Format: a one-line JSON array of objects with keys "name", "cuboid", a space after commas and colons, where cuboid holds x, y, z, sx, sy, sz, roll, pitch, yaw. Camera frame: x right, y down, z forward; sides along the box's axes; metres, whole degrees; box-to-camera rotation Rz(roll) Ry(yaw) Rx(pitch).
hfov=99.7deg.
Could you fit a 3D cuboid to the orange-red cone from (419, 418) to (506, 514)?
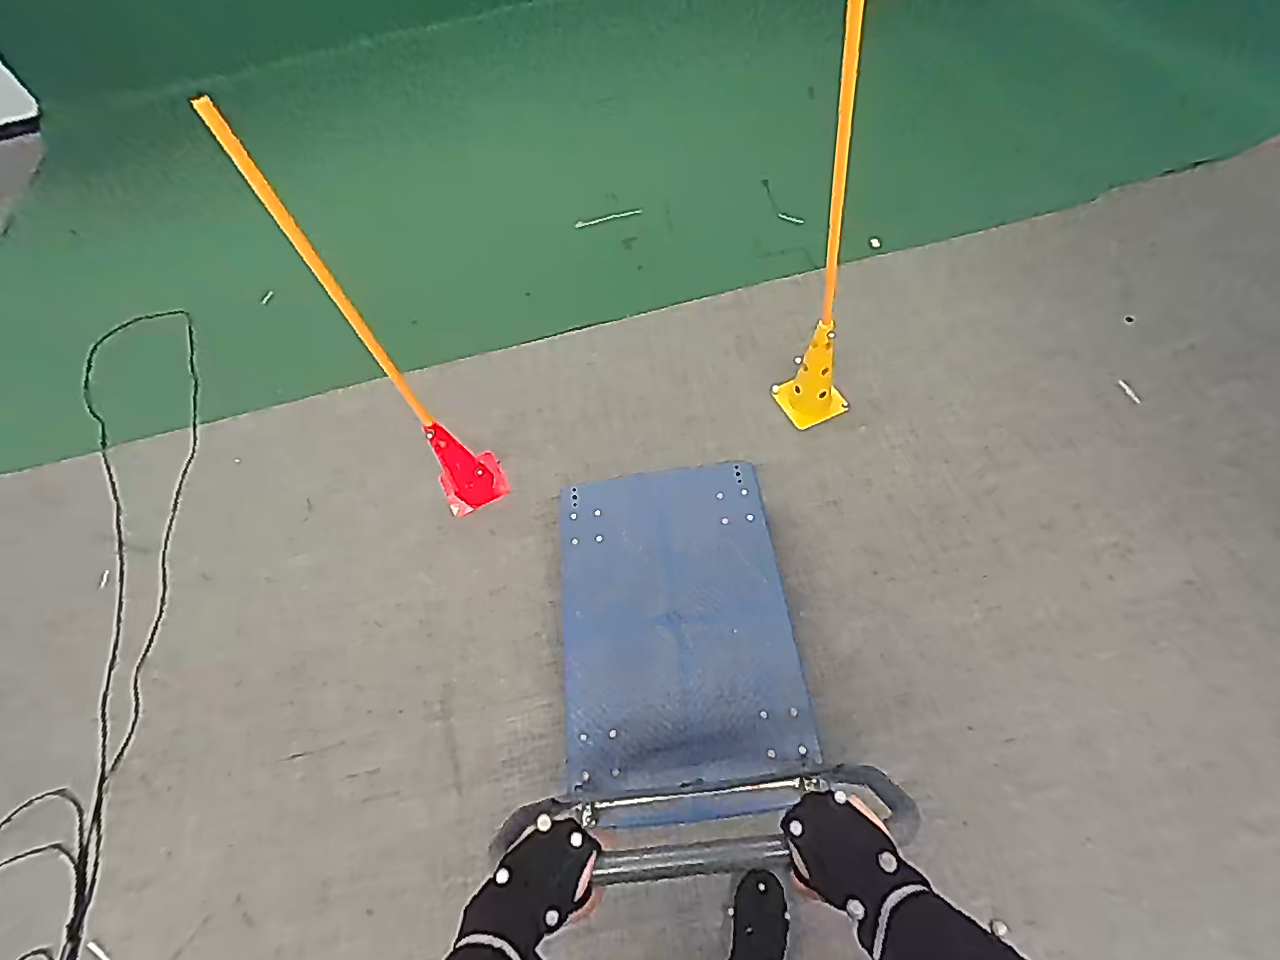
[{"name": "orange-red cone", "cuboid": [-0.591, -0.076, 1.690, 0.199, 0.360, 0.198, -28, 60, -7]}]
